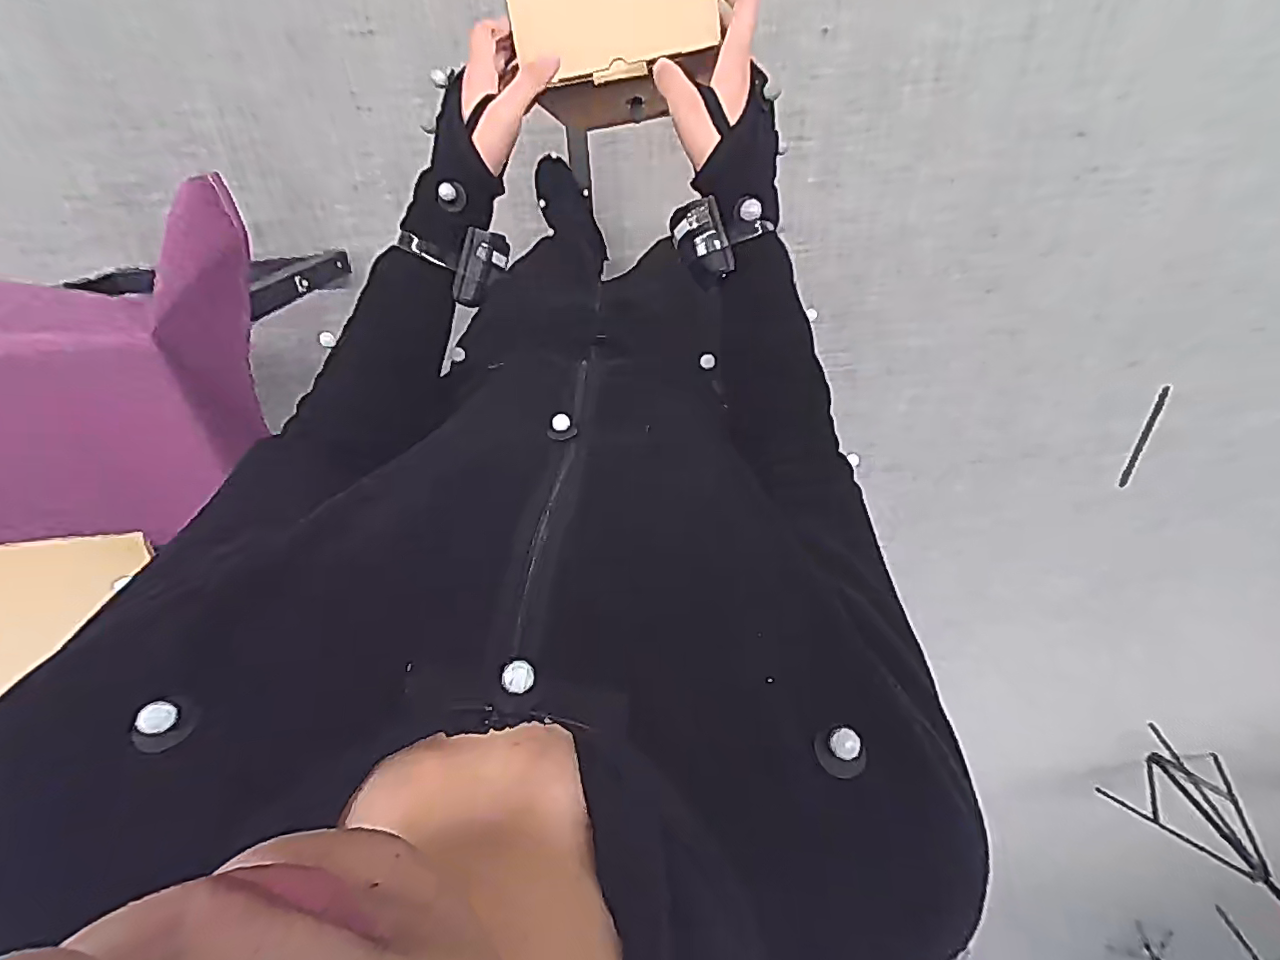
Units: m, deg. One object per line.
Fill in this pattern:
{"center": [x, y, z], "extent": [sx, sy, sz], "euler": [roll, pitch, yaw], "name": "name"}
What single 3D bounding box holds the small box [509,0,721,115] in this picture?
{"center": [-0.016, -0.445, 0.477], "extent": [0.168, 0.176, 0.179], "euler": [-4, 112, 10], "name": "small box"}
